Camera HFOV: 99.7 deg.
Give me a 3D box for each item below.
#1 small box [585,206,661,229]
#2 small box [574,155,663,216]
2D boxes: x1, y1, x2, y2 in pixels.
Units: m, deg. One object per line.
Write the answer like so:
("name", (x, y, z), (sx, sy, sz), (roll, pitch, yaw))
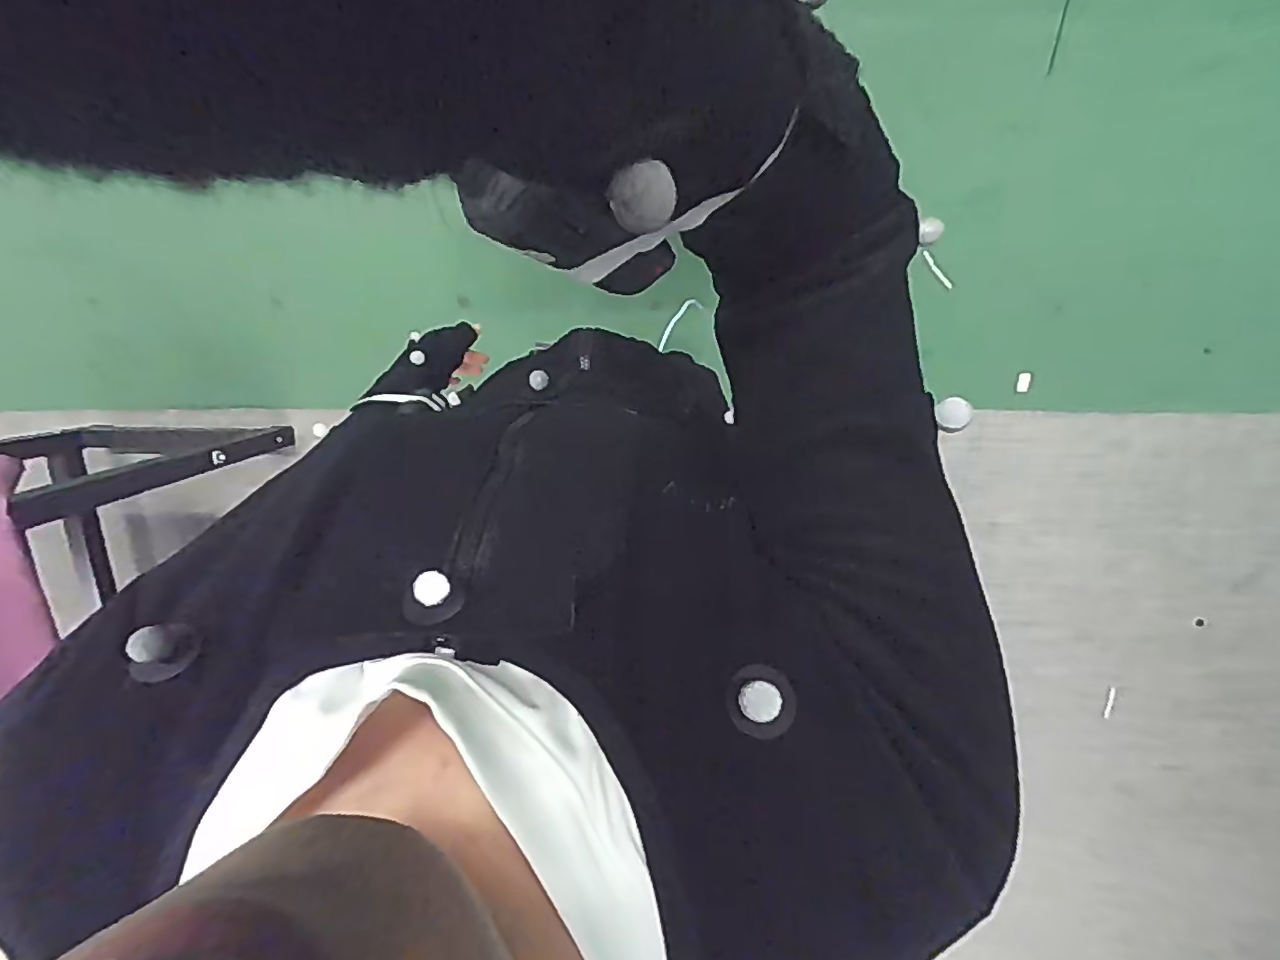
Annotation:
("small box", (-0.037, -0.679, 1.223), (0.168, 0.176, 0.179), (-1, 105, 2))
("small box", (-0.043, -0.637, 1.066), (0.168, 0.176, 0.179), (-3, 106, 2))
